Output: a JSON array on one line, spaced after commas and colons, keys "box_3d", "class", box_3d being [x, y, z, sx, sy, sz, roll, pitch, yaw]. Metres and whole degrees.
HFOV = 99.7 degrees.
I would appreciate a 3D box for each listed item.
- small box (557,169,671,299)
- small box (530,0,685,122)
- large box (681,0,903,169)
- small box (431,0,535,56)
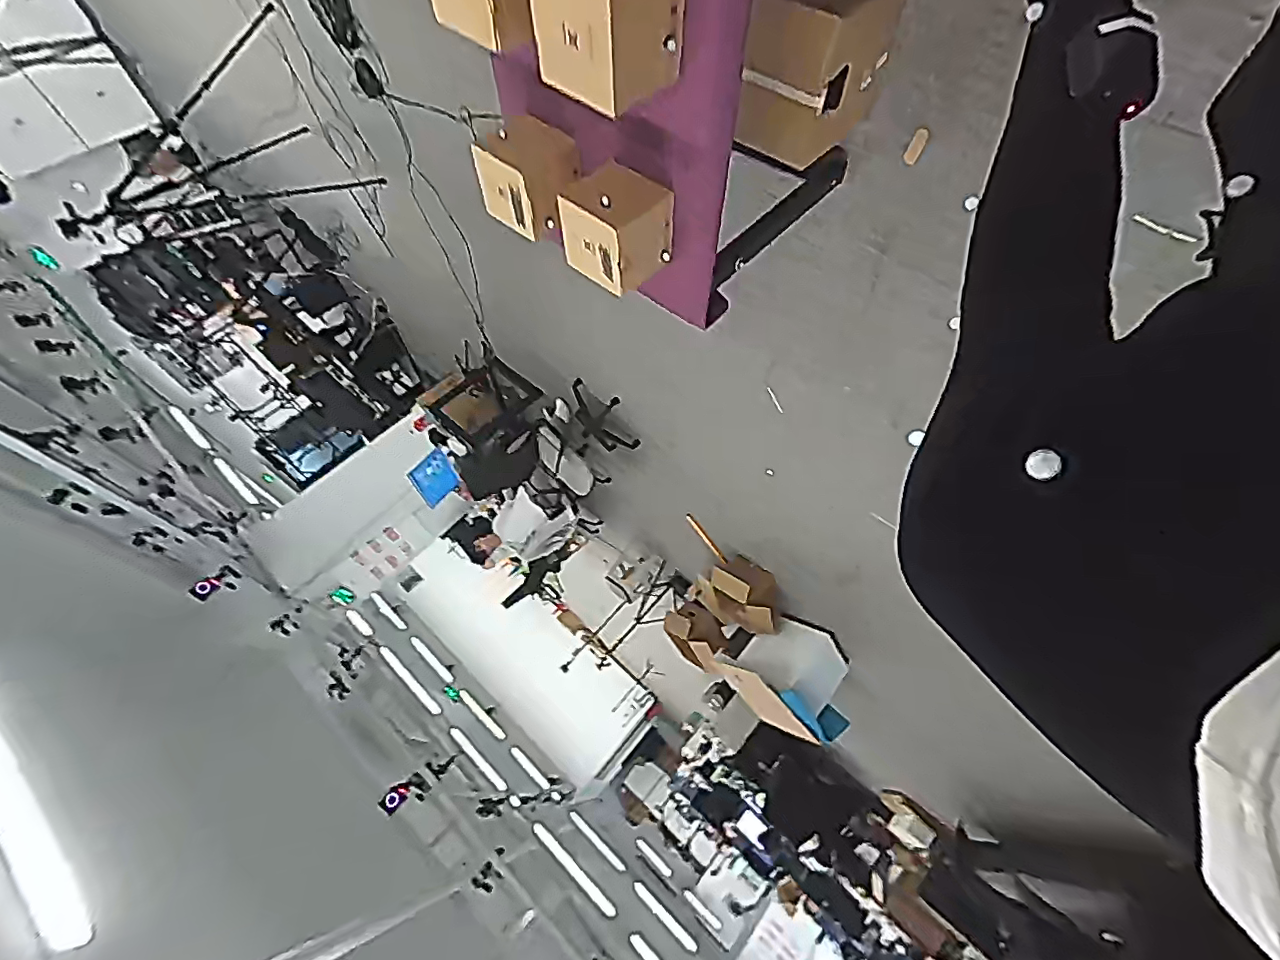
[{"box_3d": [-0.049, -0.535, 1.167, 0.179, 0.176, 0.168, 39, 157, 21], "class": "small box"}, {"box_3d": [-0.051, -0.715, 0.853, 0.179, 0.176, 0.168, 39, 159, 18], "class": "small box"}, {"box_3d": [0.356, -1.051, 1.328, 0.408, 0.320, 0.320, 39, 157, 20], "class": "large box"}, {"box_3d": [-0.254, -0.883, 0.932, 0.179, 0.176, 0.168, 37, 157, 17], "class": "small box"}]
